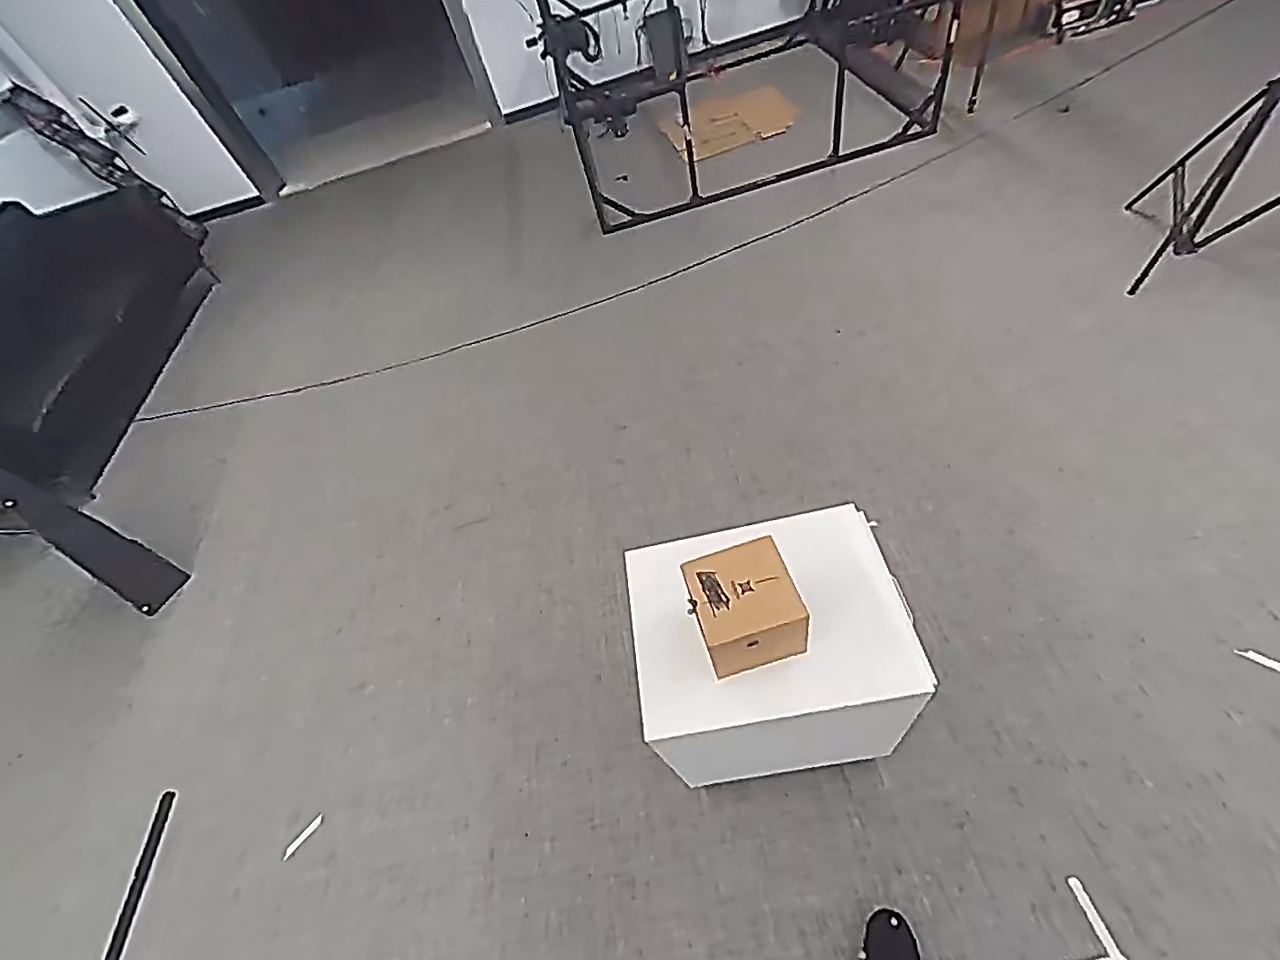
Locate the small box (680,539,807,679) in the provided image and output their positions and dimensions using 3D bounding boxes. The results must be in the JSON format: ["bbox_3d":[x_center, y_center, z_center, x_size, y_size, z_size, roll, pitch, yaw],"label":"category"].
[{"bbox_3d":[0.189,0.239,0.984,0.179,0.176,0.168,-18,51,1],"label":"small box"}]
